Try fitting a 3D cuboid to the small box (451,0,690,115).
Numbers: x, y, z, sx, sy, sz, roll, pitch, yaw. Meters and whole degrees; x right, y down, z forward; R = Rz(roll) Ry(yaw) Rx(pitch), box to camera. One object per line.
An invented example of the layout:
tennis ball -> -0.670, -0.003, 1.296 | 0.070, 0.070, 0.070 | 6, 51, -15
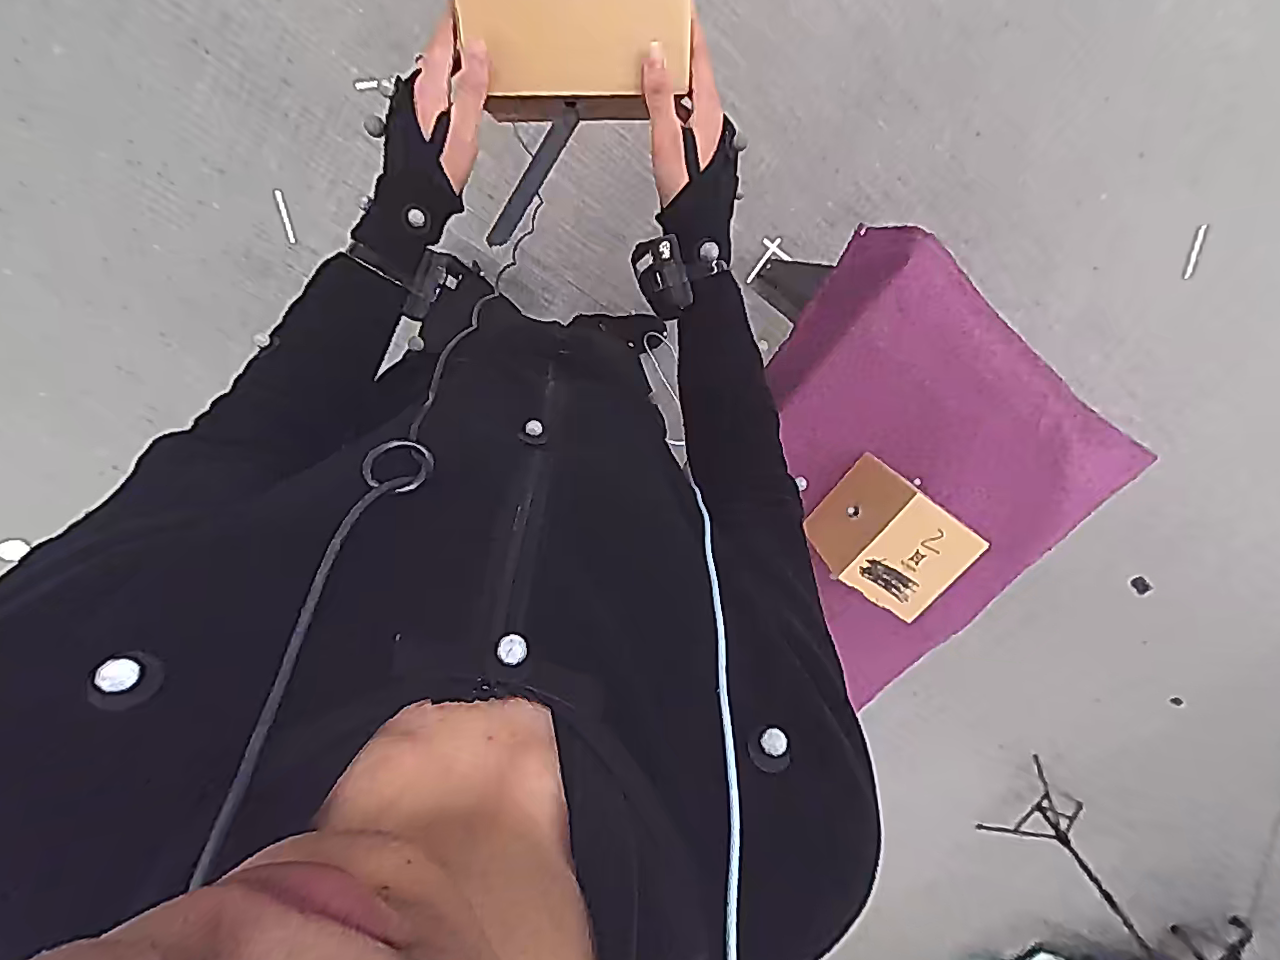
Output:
small box -> -0.057, -0.412, 0.450 | 0.179, 0.176, 0.168 | -3, 119, -3
